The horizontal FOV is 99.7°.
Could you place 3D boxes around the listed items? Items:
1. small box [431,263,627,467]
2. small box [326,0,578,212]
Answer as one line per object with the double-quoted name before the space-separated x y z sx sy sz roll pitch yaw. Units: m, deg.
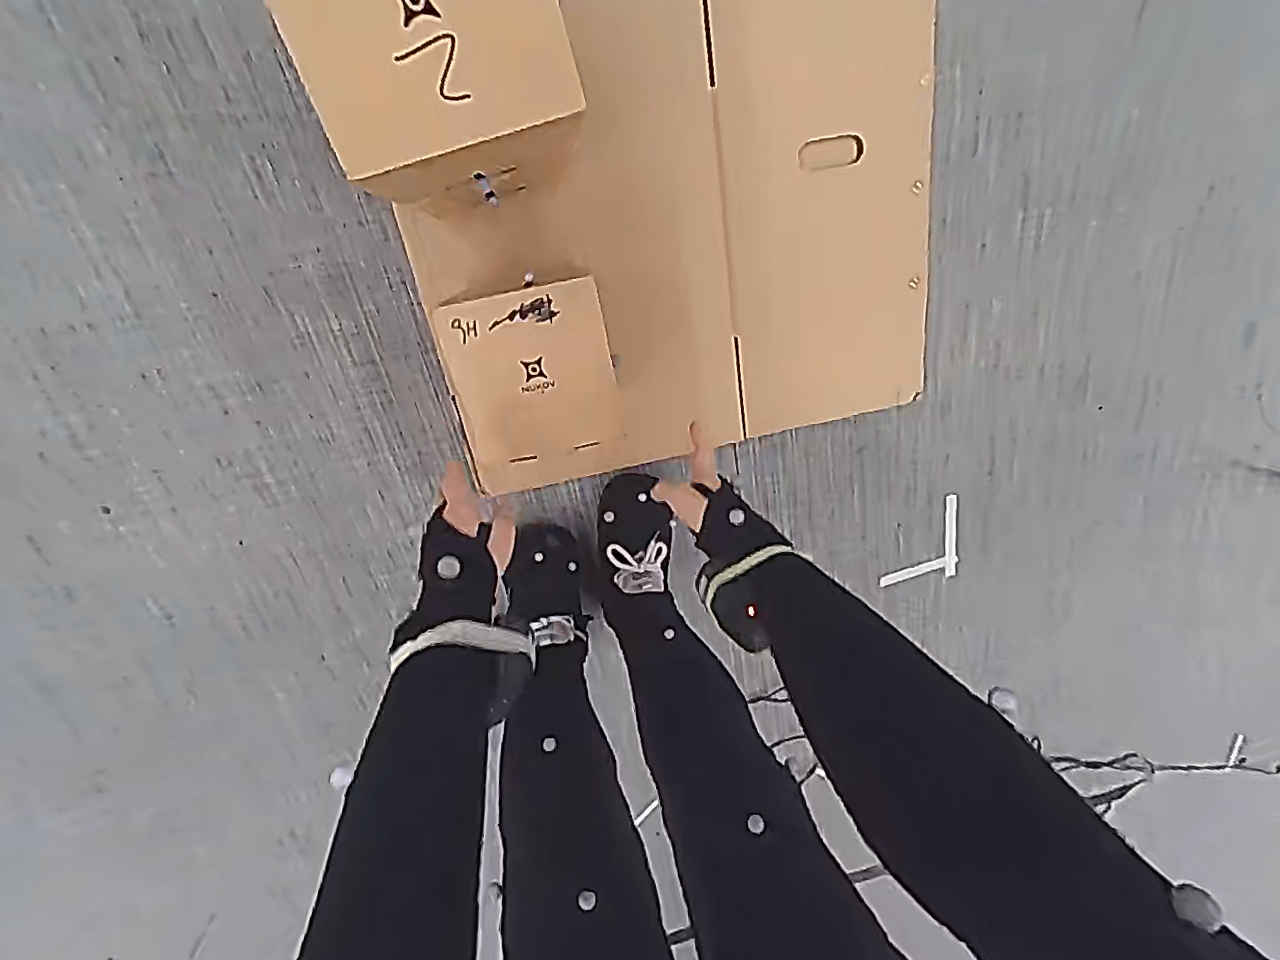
"small box" -0.120 -0.141 0.632 0.168 0.176 0.179 -15 117 -4
"small box" -0.174 -0.391 0.541 0.168 0.176 0.179 -22 114 -2
